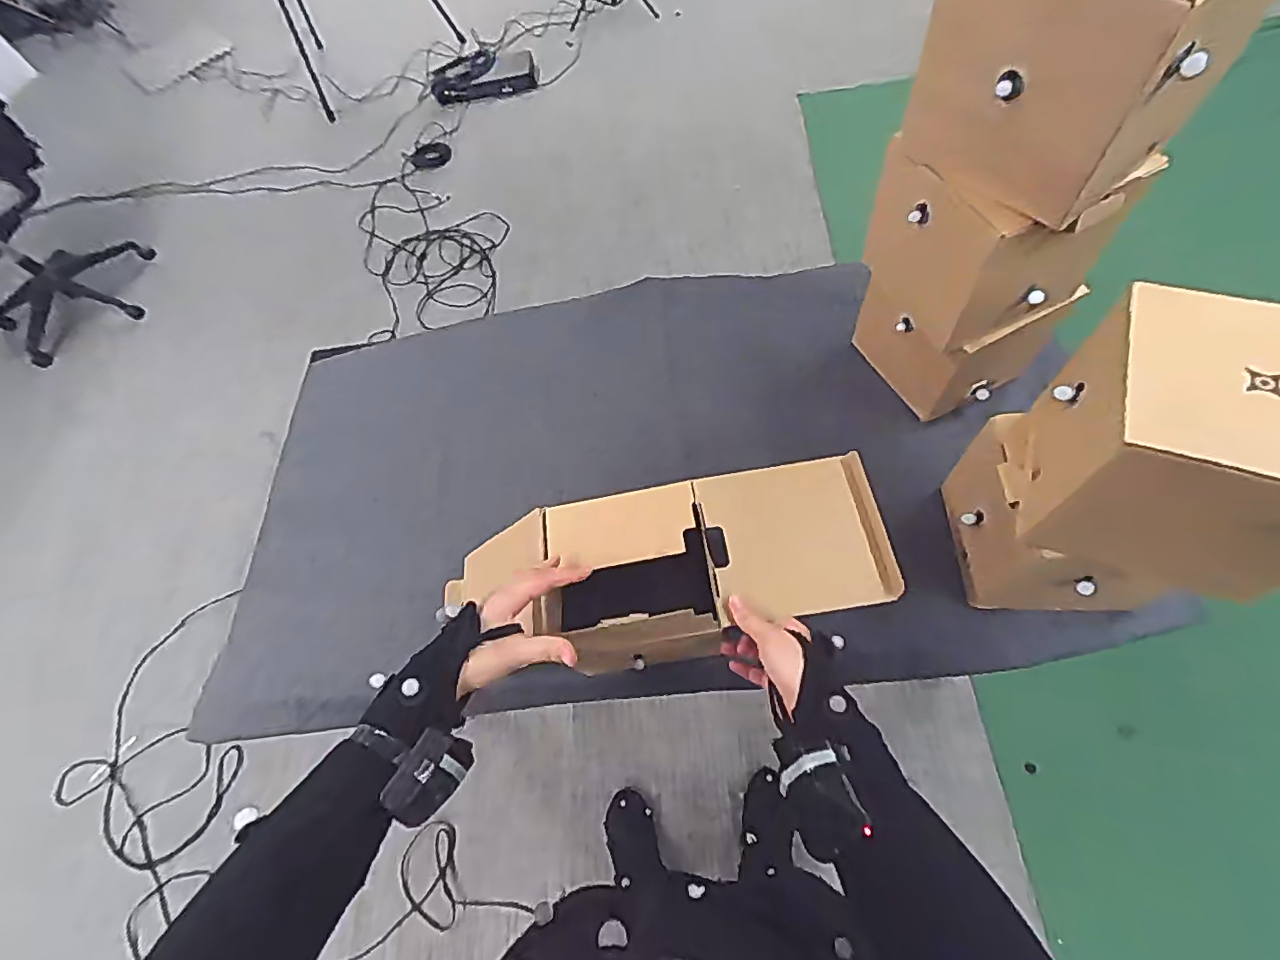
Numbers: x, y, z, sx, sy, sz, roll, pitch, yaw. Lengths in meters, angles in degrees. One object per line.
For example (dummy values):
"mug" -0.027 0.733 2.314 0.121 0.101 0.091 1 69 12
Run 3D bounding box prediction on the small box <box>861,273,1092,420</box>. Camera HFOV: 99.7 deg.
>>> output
"small box" 0.425 -0.213 0.724 0.168 0.176 0.179 -28 65 -2

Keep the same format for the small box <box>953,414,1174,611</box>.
"small box" 0.467 0.041 0.590 0.179 0.176 0.168 -2 61 9

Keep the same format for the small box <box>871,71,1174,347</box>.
"small box" 0.376 -0.279 0.580 0.168 0.176 0.179 -24 64 1

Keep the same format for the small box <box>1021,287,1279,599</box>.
"small box" 0.448 -0.023 0.440 0.179 0.176 0.168 19 66 18

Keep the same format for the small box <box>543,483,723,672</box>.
"small box" -0.002 0.122 0.630 0.179 0.176 0.168 -11 64 6
